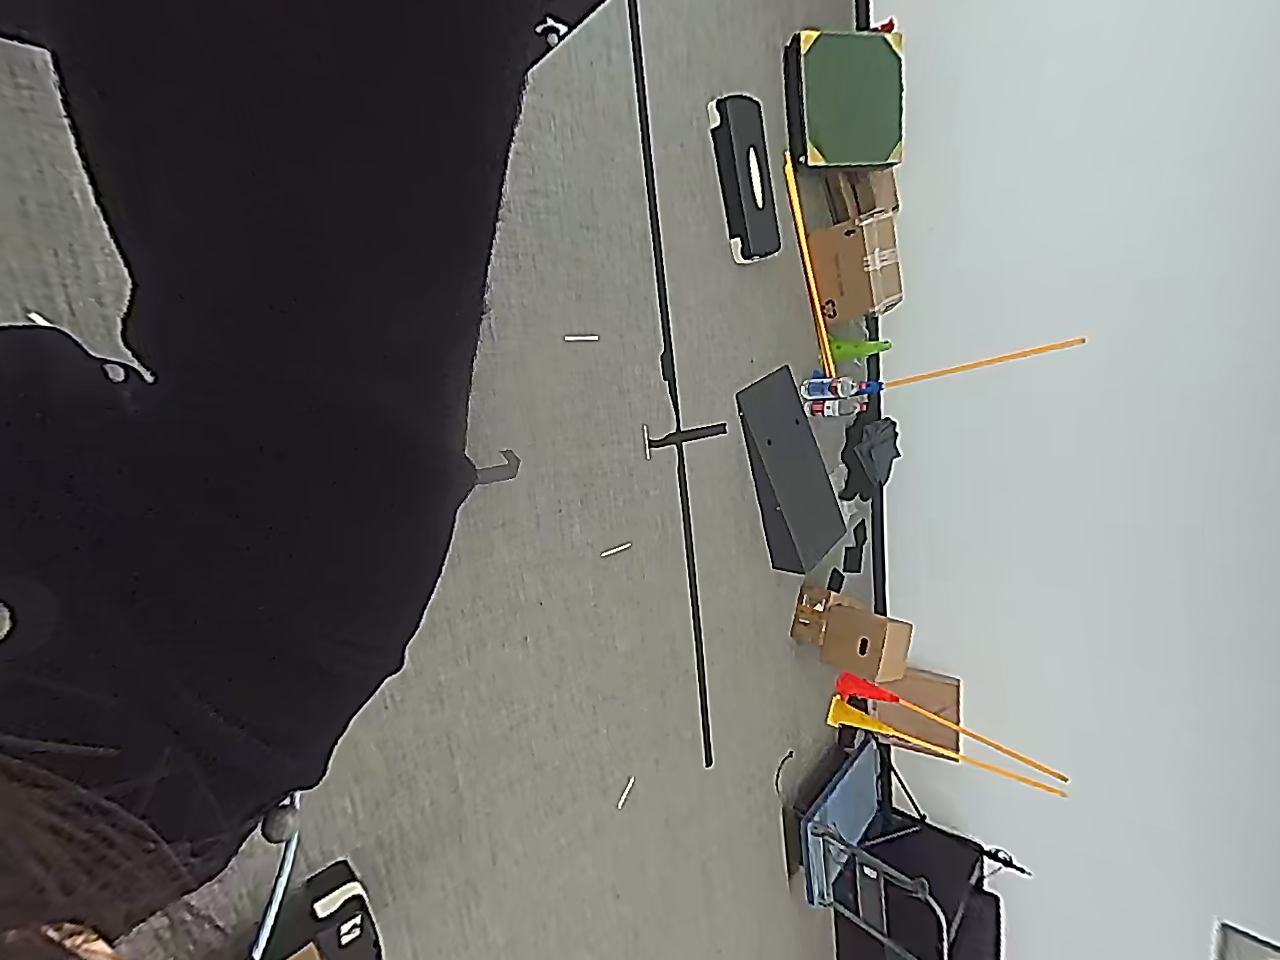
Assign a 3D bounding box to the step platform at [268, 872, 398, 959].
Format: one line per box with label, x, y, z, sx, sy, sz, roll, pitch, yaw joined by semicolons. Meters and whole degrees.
step platform;-0.907;1.222;1.197;0.684;0.204;0.286;-8;98;-45
